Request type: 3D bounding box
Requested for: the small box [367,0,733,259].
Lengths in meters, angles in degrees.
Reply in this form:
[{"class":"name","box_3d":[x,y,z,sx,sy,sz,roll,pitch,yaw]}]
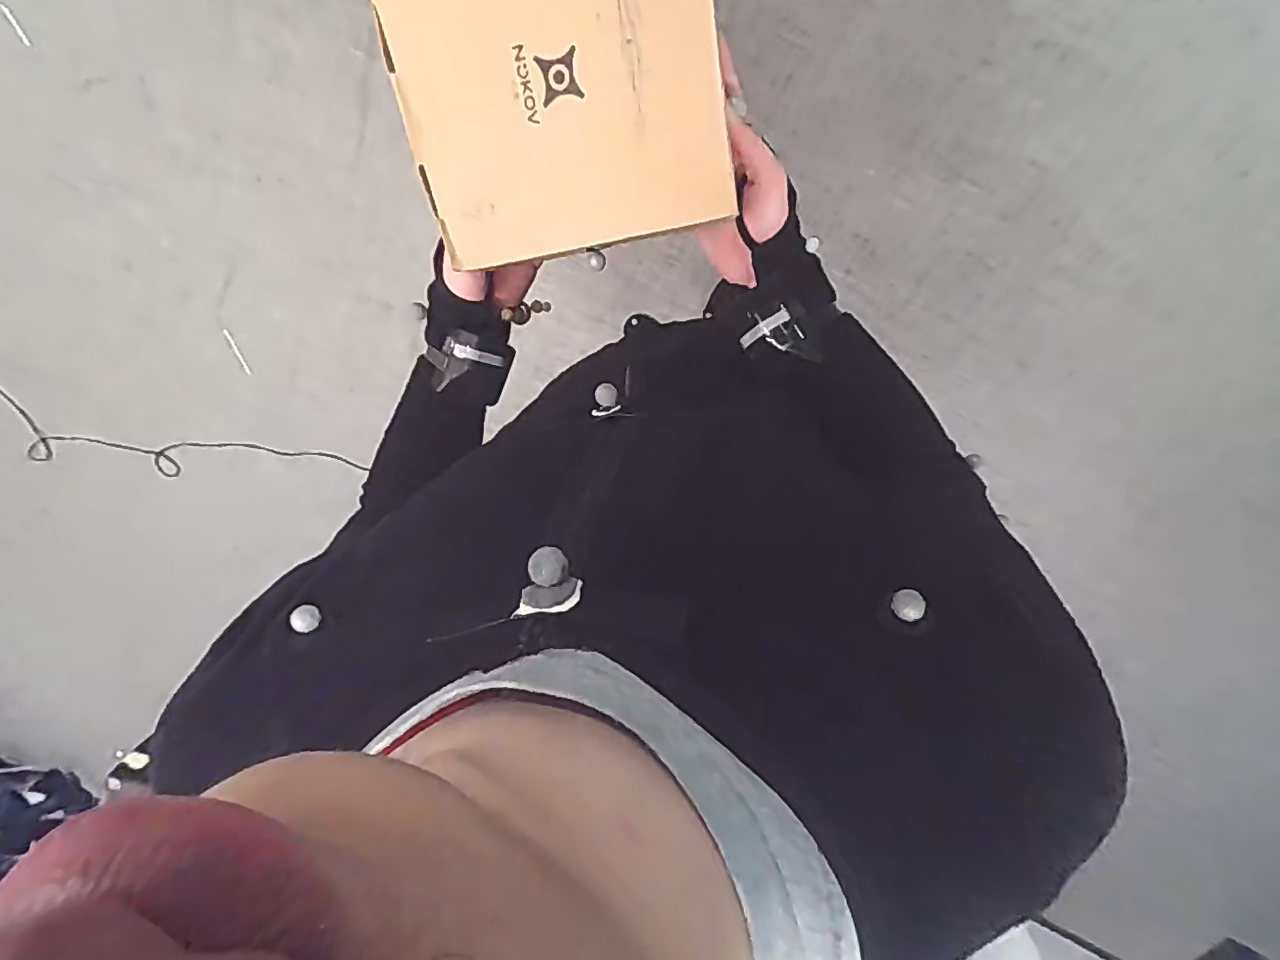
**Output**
[{"class":"small box","box_3d":[-0.037,-0.246,0.349,0.179,0.176,0.168,-7,114,11]}]
